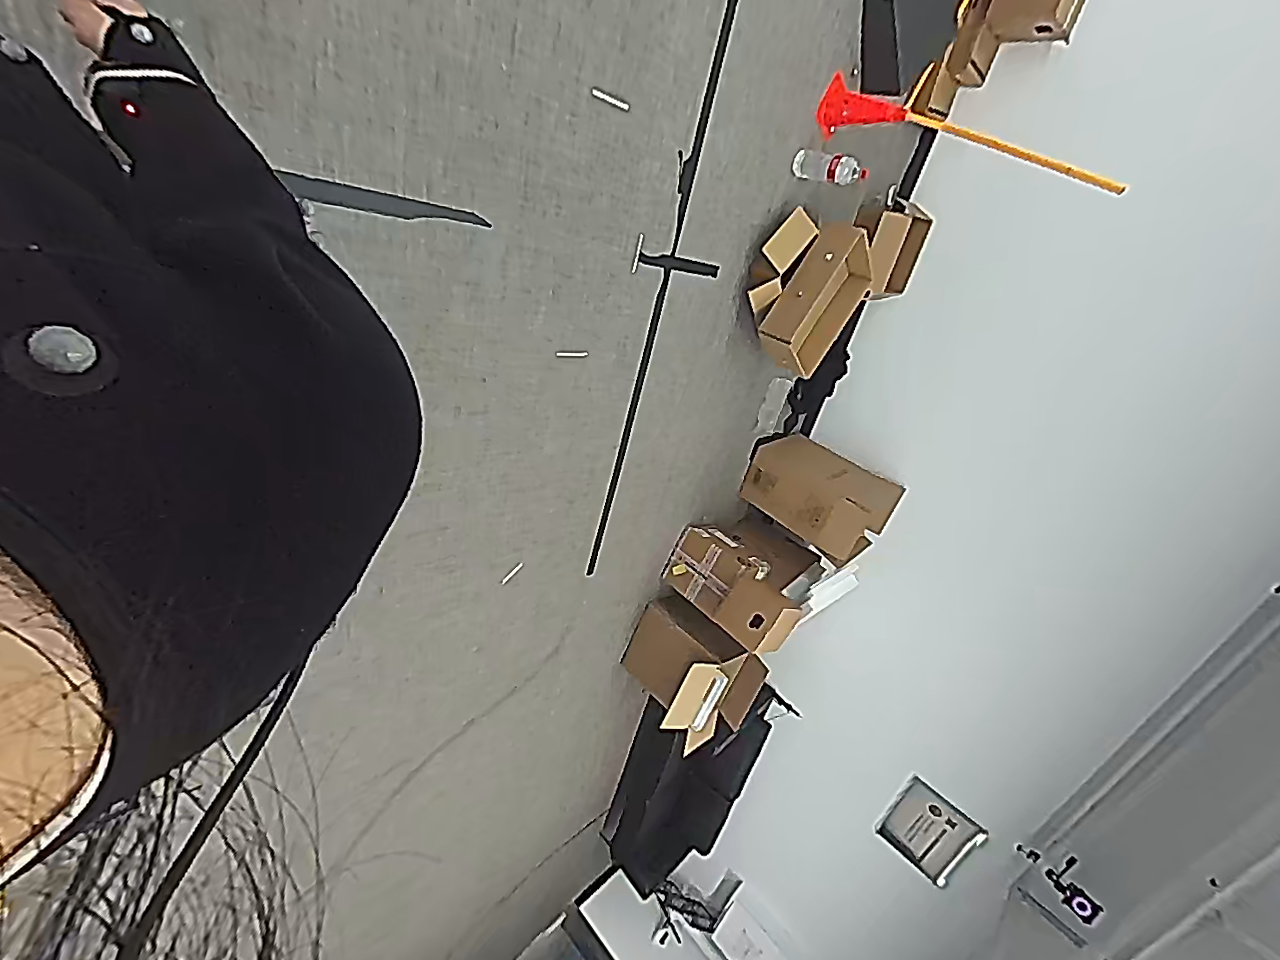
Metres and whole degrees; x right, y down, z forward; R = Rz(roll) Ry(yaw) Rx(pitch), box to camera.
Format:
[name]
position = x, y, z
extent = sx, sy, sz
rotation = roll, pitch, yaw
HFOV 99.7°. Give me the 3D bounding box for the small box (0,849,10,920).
[small box]
position = -1.689, 1.008, 1.322
extent = 0.168, 0.176, 0.179
rotation = -17, 132, -45
